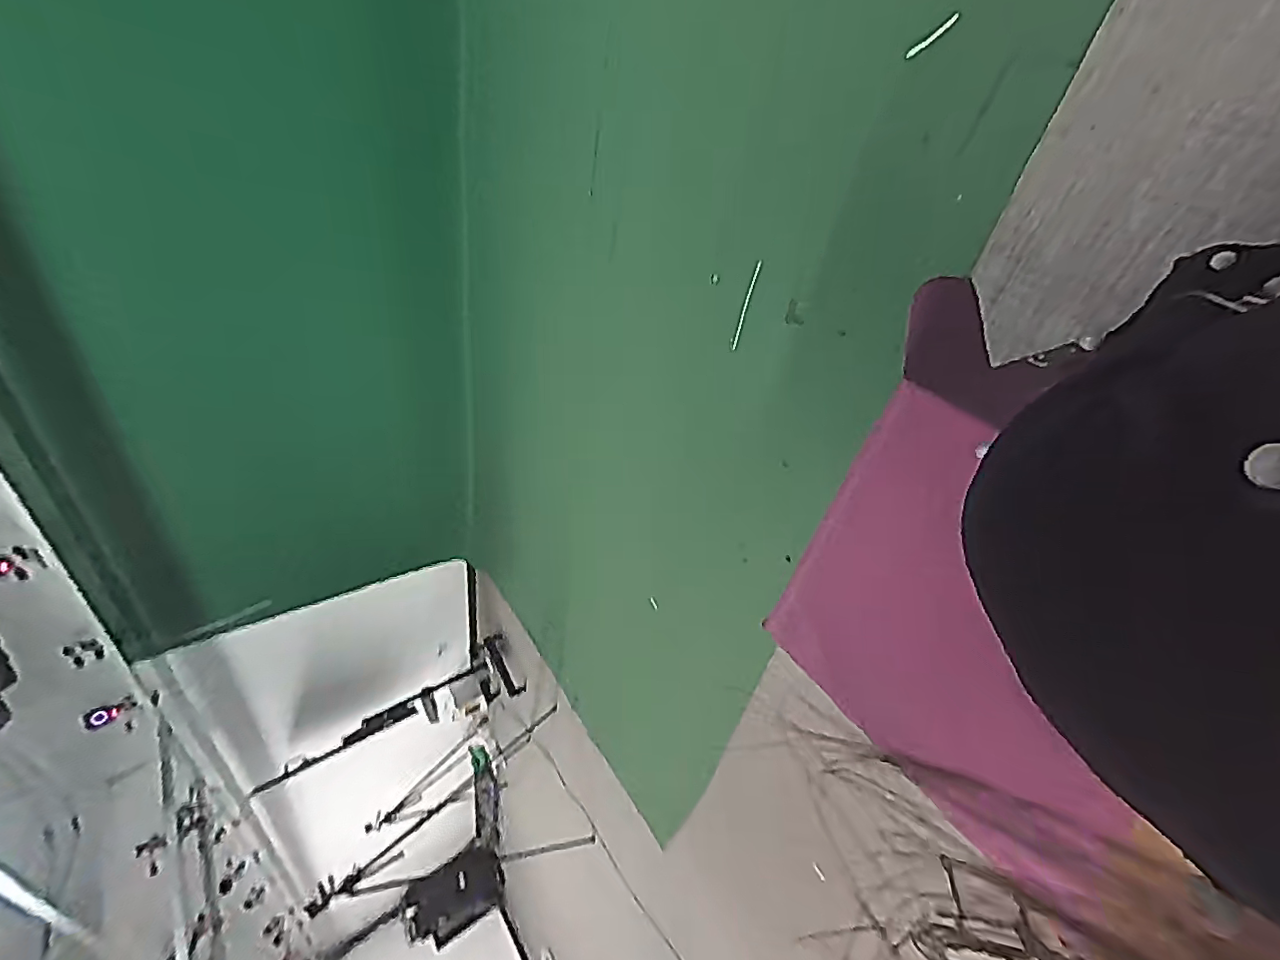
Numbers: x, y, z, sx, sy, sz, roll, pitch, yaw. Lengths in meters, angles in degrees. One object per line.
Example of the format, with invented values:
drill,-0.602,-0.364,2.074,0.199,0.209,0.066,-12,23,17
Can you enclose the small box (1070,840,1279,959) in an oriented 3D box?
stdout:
small box,0.500,0.449,0.446,0.168,0.176,0.179,45,137,34
